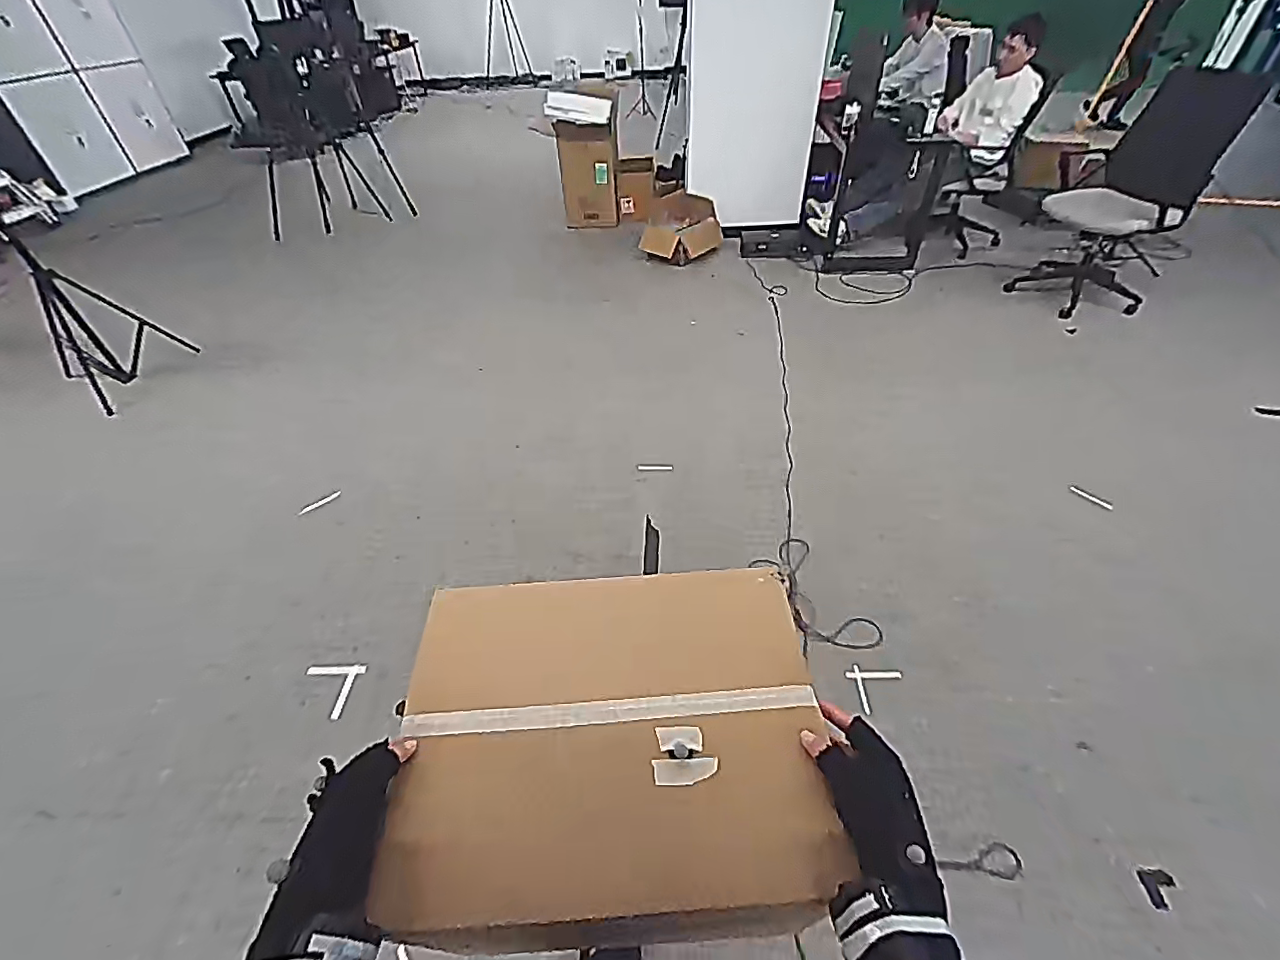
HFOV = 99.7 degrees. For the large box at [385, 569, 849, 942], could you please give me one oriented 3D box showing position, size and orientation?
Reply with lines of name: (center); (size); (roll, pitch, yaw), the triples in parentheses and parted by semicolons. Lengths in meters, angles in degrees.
large box: (-0.024, 0.336, 0.662); (0.408, 0.320, 0.320); (-3, 47, -1)
